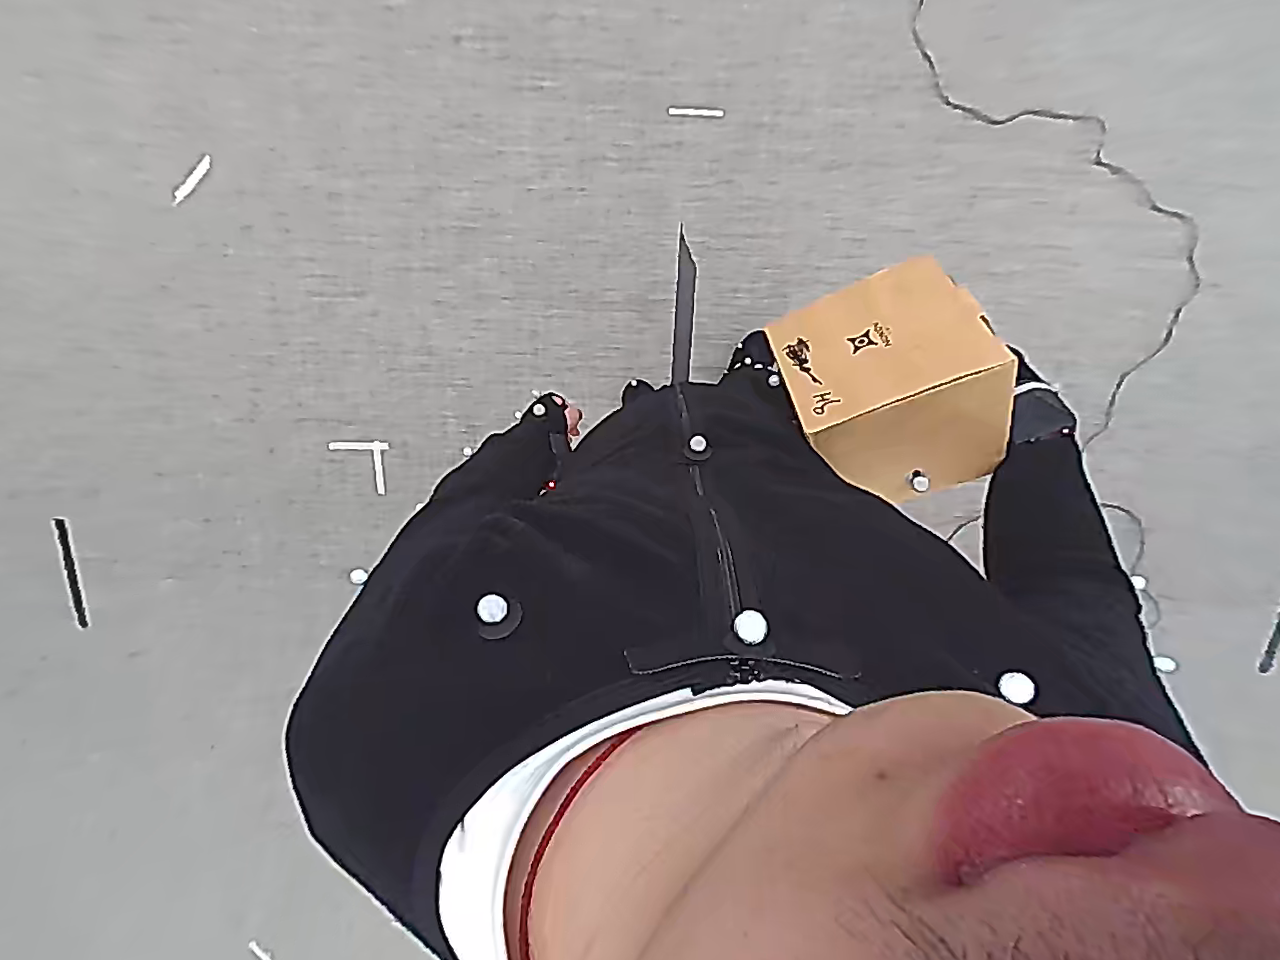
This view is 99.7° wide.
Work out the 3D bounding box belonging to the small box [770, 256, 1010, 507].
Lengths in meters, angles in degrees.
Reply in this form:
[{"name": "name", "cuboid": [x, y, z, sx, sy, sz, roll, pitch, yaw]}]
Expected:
[{"name": "small box", "cuboid": [0.261, -0.097, 0.587, 0.179, 0.168, 0.176, -20, 140, 16]}]
